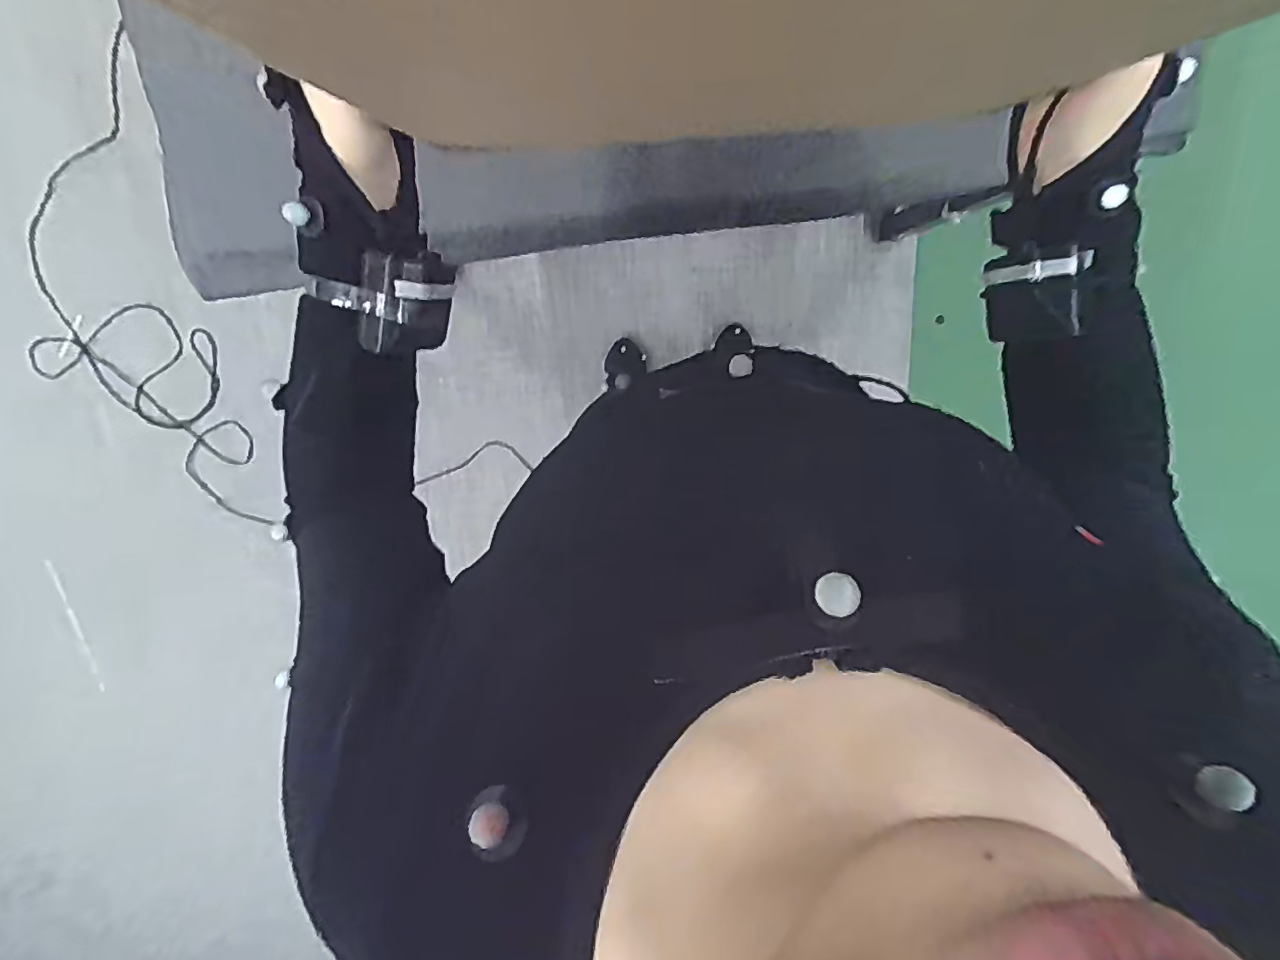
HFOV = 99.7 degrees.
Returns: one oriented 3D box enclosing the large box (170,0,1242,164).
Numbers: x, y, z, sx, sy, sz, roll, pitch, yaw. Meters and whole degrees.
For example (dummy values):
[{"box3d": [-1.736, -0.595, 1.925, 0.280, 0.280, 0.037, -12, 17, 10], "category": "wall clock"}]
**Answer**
[{"box3d": [0.046, -0.336, 0.208, 0.408, 0.320, 0.320, -5, 114, 0], "category": "large box"}]
